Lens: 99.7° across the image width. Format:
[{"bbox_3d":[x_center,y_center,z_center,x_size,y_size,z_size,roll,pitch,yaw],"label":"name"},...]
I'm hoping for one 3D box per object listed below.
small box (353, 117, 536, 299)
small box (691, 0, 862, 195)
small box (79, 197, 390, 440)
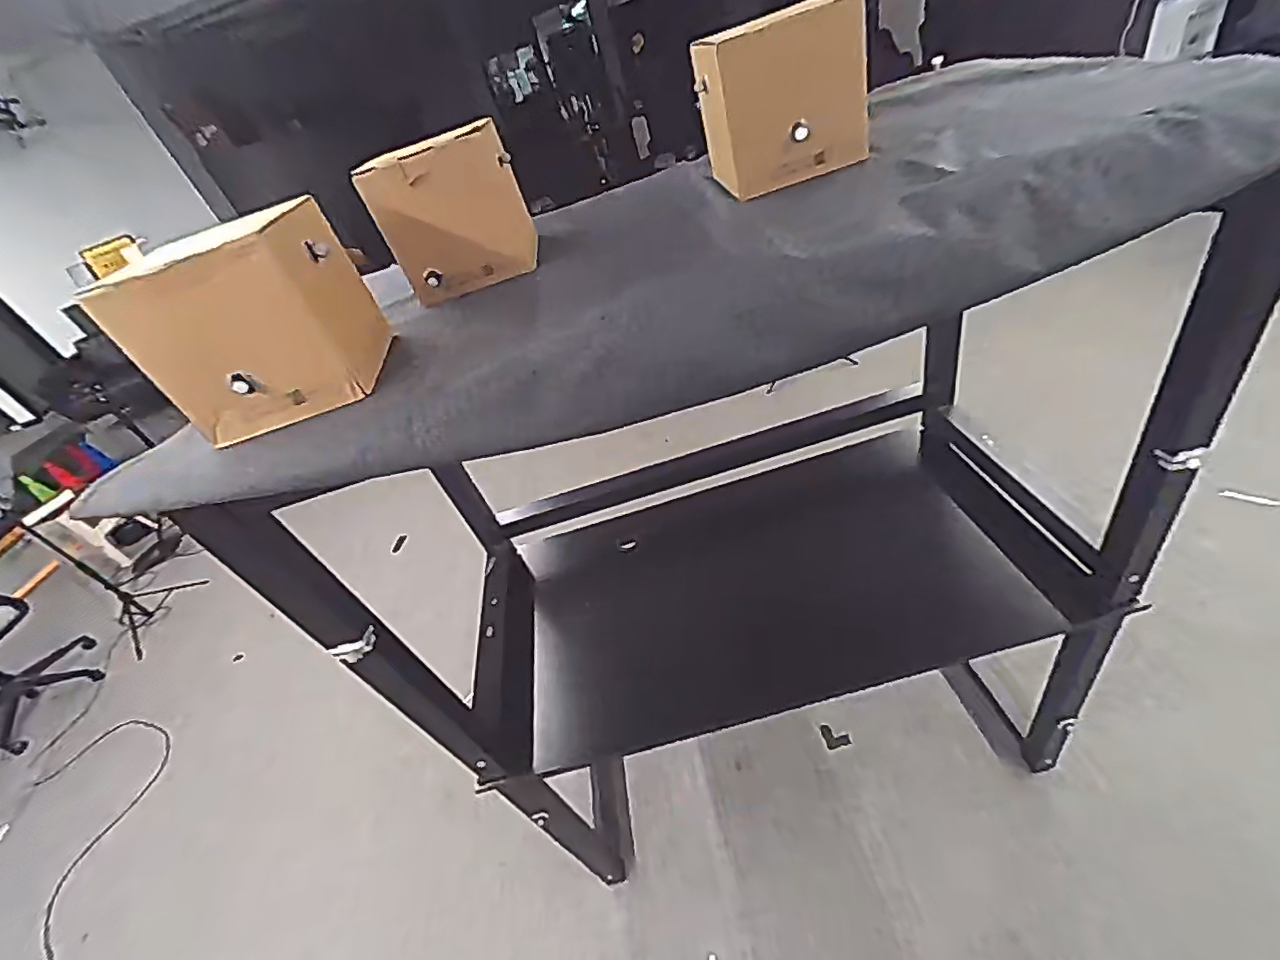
[{"bbox_3d":[-0.251,-0.369,0.745,0.168,0.176,0.179,-17,38,4],"label":"small box"},{"bbox_3d":[0.174,-0.492,0.702,0.168,0.176,0.179,-16,39,6],"label":"small box"},{"bbox_3d":[-0.390,-0.170,0.566,0.168,0.176,0.179,-19,39,0],"label":"small box"}]
